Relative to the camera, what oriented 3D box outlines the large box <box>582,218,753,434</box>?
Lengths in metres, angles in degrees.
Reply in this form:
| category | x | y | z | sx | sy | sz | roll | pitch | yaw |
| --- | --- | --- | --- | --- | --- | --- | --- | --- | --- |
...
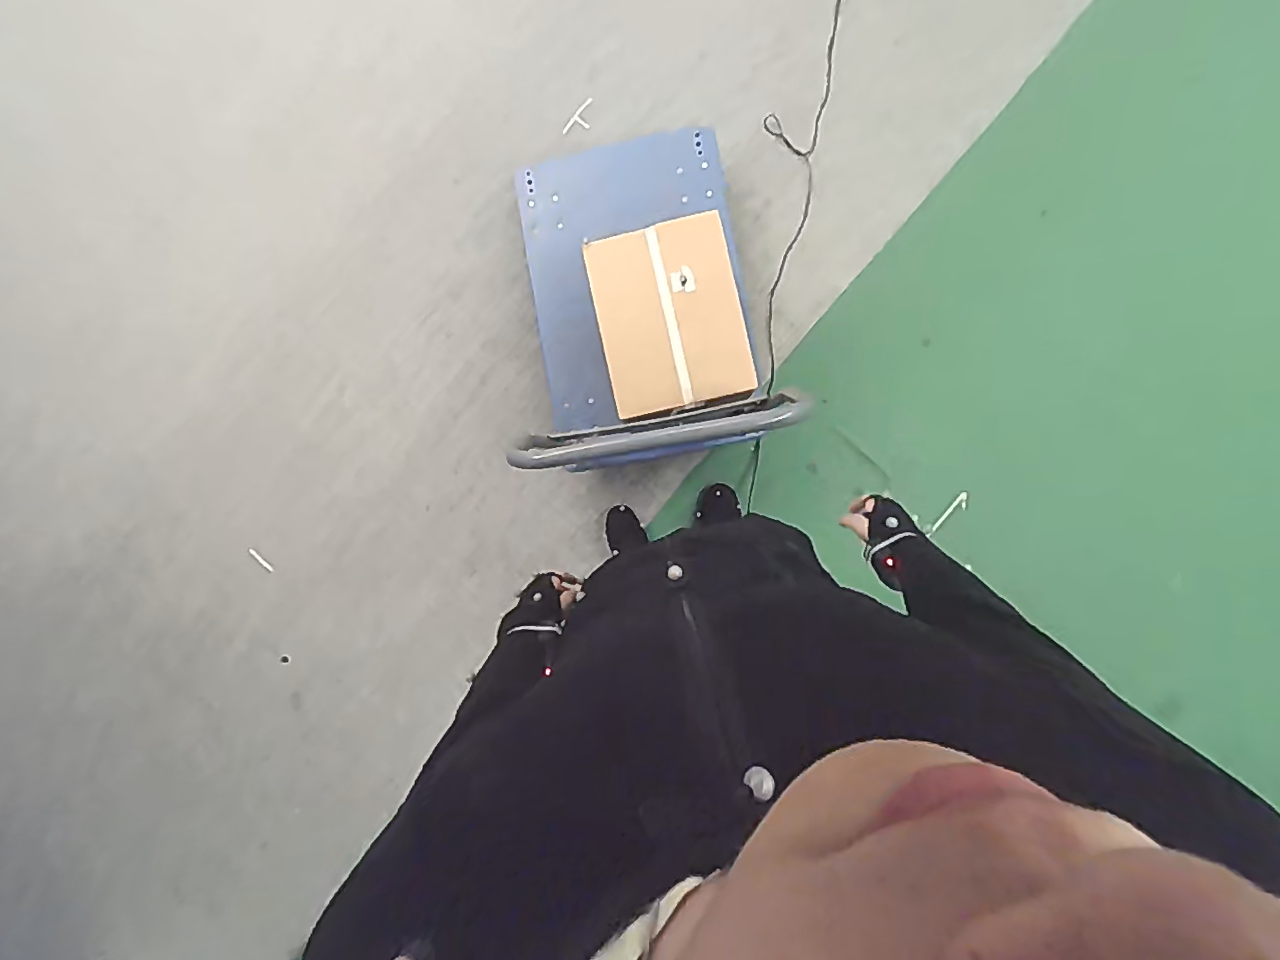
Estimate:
| category | x | y | z | sx | sy | sz | roll | pitch | yaw |
| --- | --- | --- | --- | --- | --- | --- | --- | --- | --- |
| large box | 0.072 | -0.357 | 1.356 | 0.320 | 0.320 | 0.408 | -13 | 88 | 3 |
